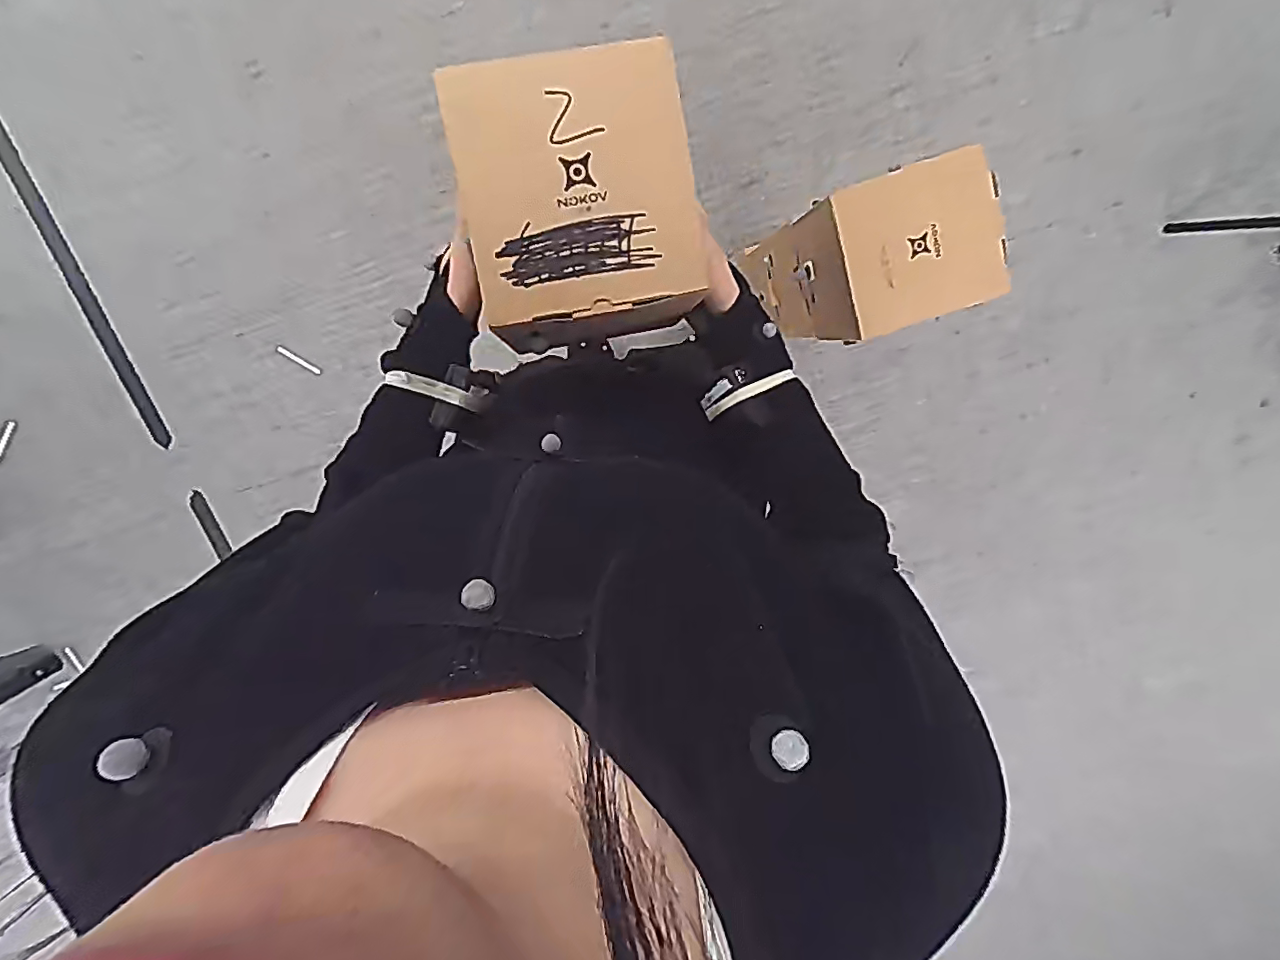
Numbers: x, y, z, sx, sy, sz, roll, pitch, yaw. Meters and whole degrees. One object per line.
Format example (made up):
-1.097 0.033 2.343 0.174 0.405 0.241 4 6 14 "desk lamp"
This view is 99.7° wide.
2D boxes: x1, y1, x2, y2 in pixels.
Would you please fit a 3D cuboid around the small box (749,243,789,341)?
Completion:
0.307 -0.357 0.994 0.179 0.176 0.168 -15 105 5 "small box"

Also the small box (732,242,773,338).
0.300 -0.406 1.150 0.168 0.176 0.179 -14 104 4 "small box"

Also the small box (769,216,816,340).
0.310 -0.318 0.834 0.179 0.176 0.168 -16 104 3 "small box"

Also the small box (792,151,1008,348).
0.312 -0.274 0.678 0.179 0.176 0.168 -18 103 5 "small box"

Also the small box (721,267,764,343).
0.304 -0.444 1.310 0.168 0.176 0.179 -17 104 4 "small box"
